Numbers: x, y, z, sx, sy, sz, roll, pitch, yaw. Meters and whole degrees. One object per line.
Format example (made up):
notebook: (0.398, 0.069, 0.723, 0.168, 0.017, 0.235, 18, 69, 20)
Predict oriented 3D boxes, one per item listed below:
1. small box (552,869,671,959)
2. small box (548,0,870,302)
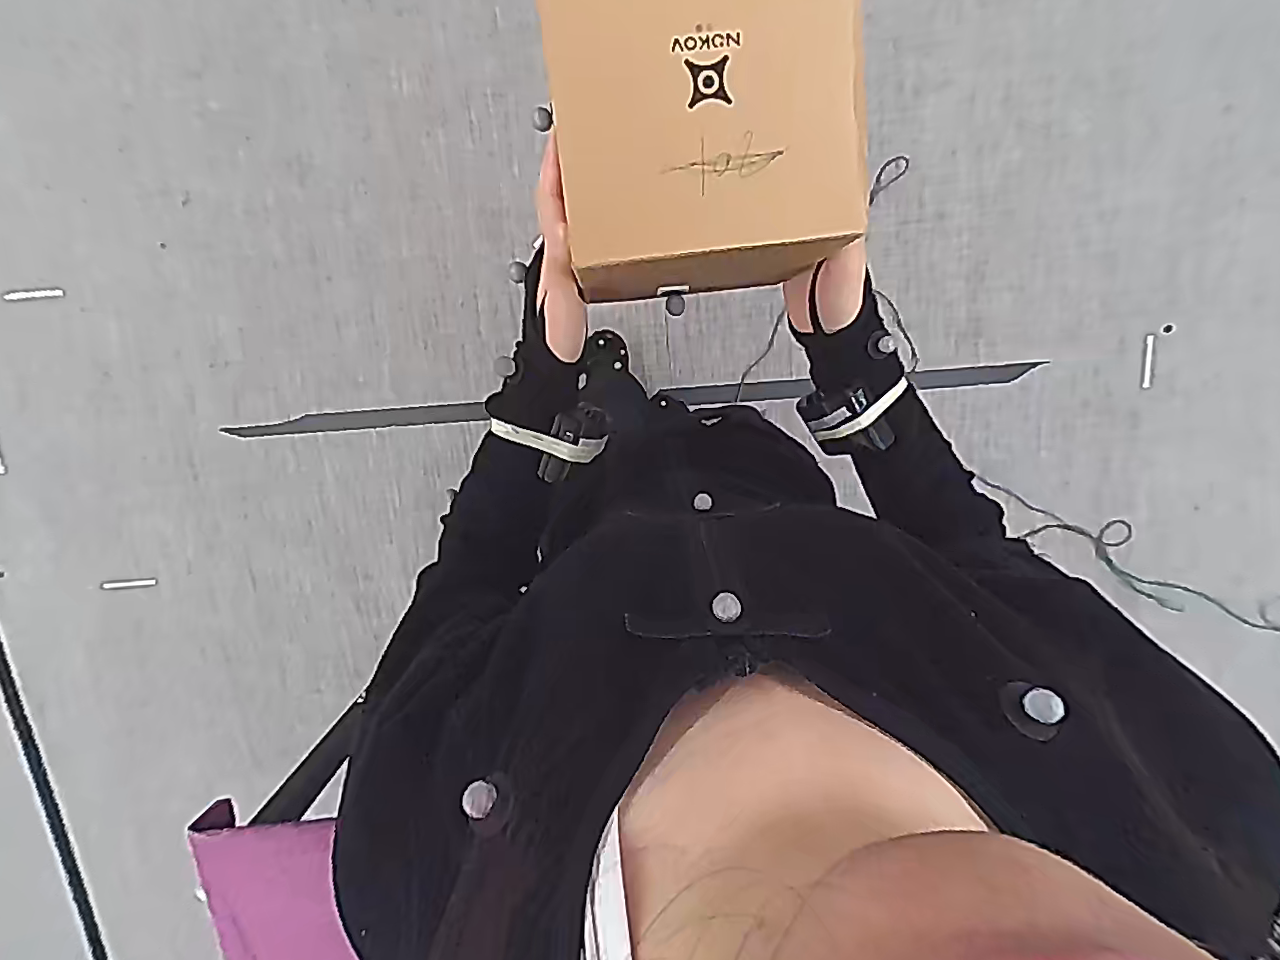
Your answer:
small box: (-0.037, 0.728, 0.807, 0.168, 0.176, 0.179, -3, 101, 0)
small box: (0.033, -0.228, 0.362, 0.168, 0.176, 0.179, -8, 102, -1)
